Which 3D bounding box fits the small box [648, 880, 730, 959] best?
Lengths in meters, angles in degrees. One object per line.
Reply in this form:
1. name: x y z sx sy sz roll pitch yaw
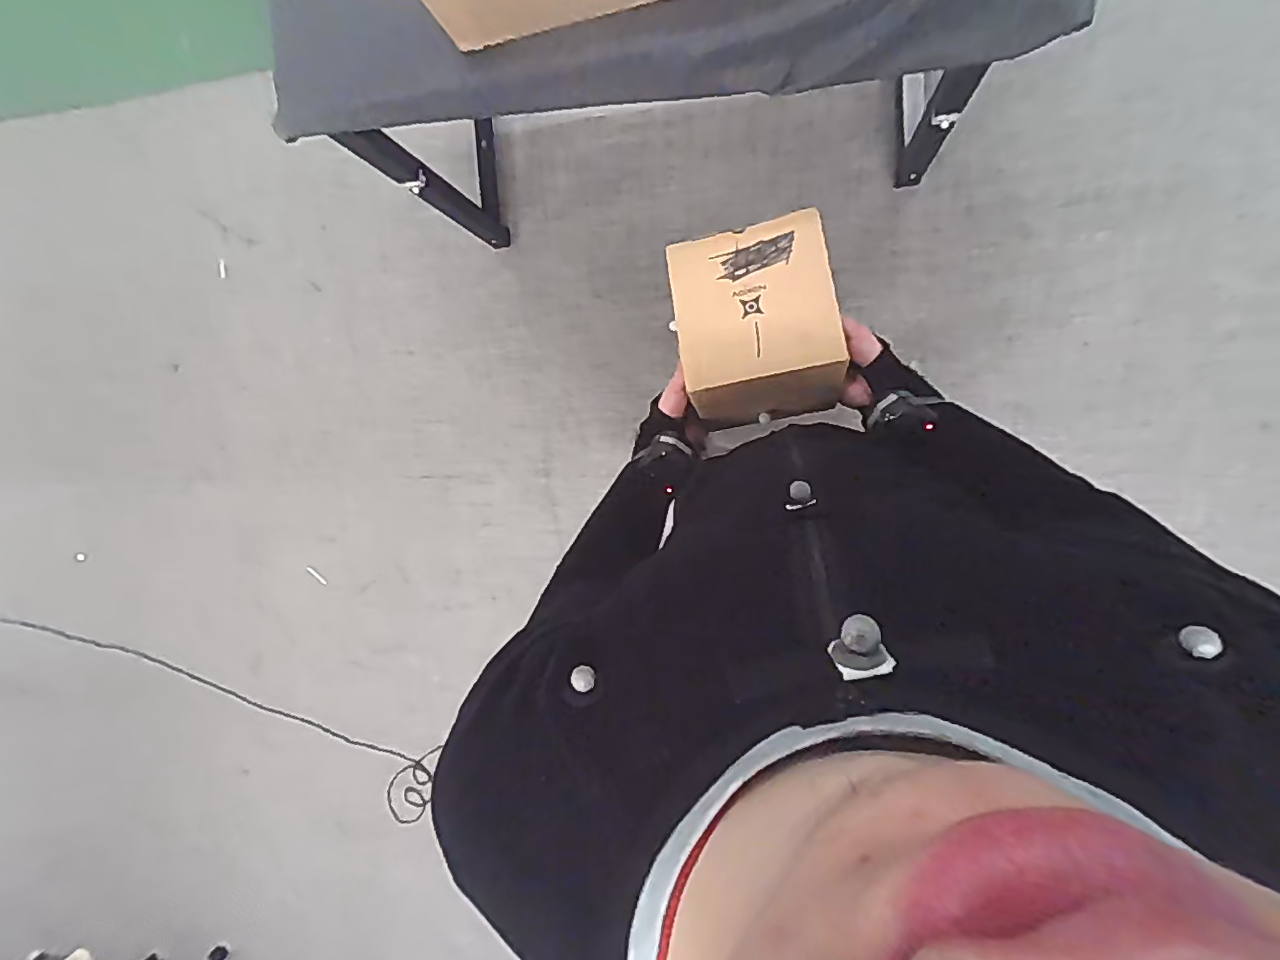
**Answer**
1. small box: 0.152 1.355 1.609 0.168 0.176 0.179 42 103 6
